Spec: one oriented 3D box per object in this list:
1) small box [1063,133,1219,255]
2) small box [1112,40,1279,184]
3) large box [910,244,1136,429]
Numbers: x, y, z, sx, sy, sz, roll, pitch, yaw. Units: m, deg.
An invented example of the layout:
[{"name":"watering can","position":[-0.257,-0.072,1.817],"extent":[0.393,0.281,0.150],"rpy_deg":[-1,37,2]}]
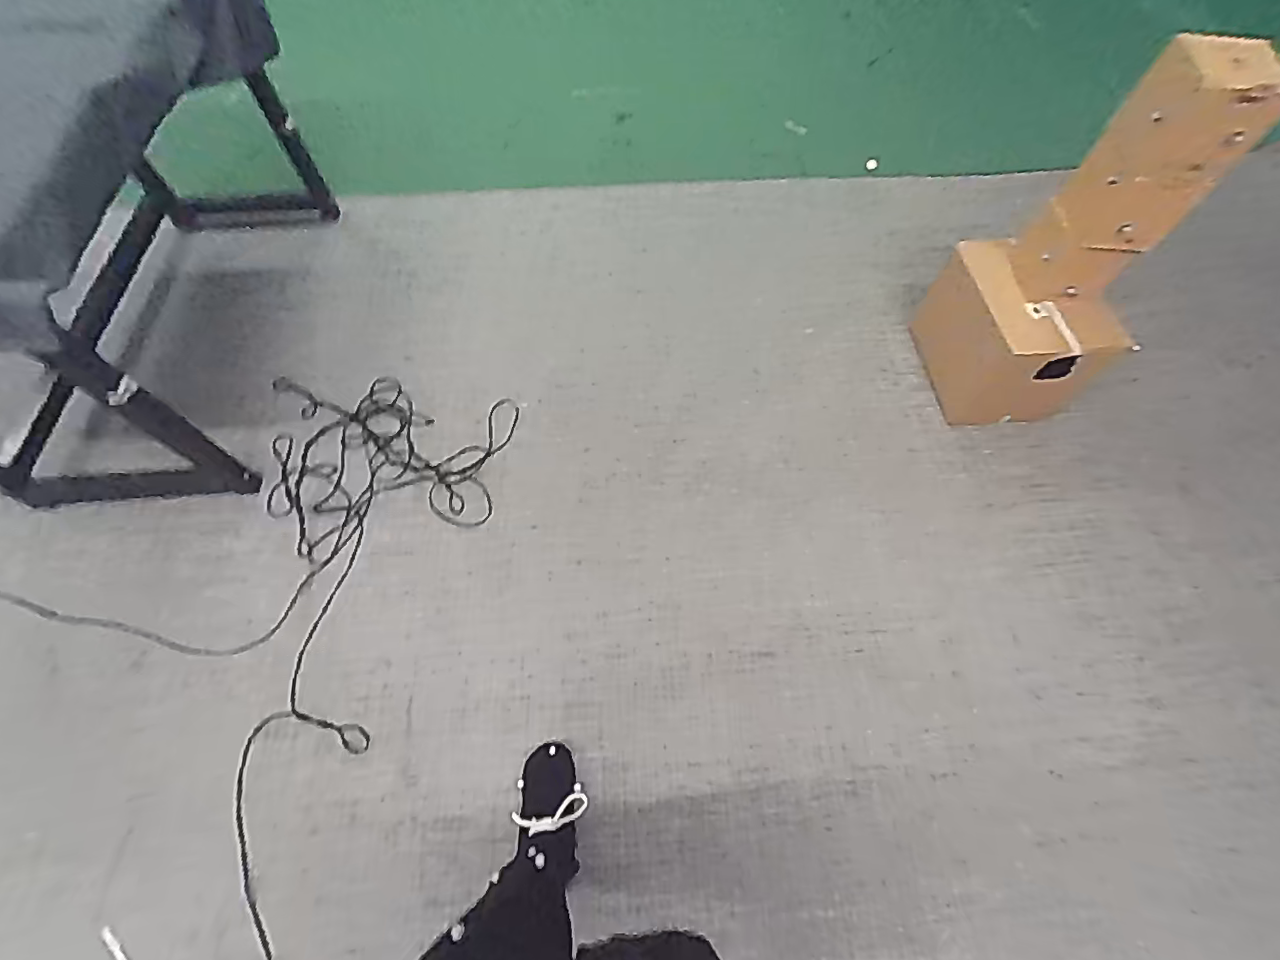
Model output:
[{"name":"small box","position":[1.080,-0.627,1.187],"extent":[0.168,0.176,0.179],"rpy_deg":[5,64,1]},{"name":"small box","position":[1.076,-0.703,1.043],"extent":[0.168,0.176,0.179],"rpy_deg":[6,63,1]},{"name":"large box","position":[1.035,-0.400,1.525],"extent":[0.320,0.320,0.408],"rpy_deg":[-4,64,-2]}]
